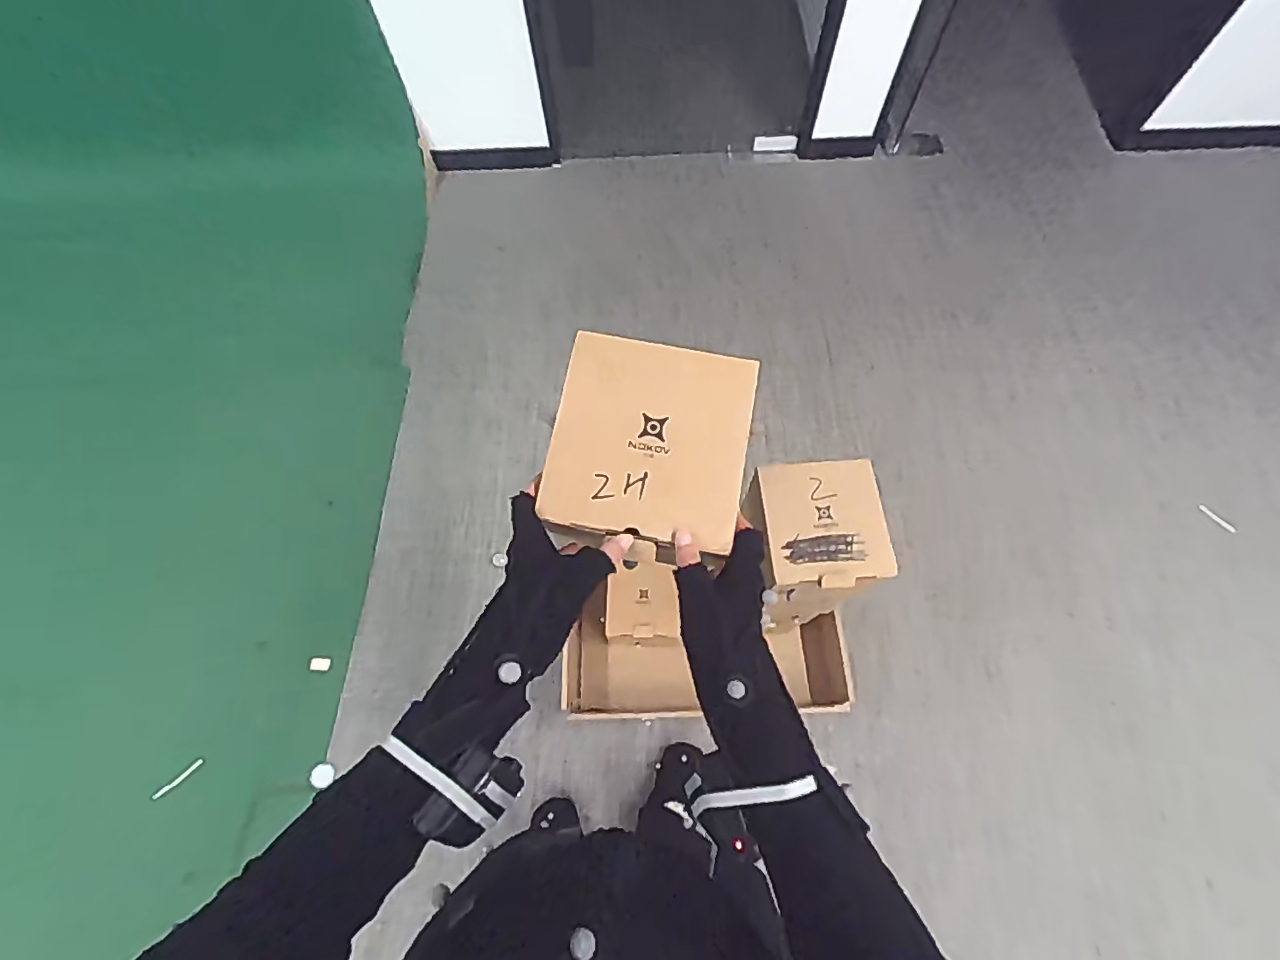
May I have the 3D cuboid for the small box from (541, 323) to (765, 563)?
[{"bbox_3d":[0.013,-0.024,0.533,0.168,0.176,0.179,10,77,3],"label":"small box"}]

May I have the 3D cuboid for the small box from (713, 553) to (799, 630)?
[{"bbox_3d":[0.267,0.256,1.281,0.168,0.176,0.179,-6,66,1],"label":"small box"}]

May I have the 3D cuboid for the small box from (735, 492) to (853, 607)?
[{"bbox_3d":[0.266,0.132,0.976,0.168,0.176,0.179,-1,67,1],"label":"small box"}]

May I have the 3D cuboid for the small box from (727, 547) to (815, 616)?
[{"bbox_3d":[0.274,0.183,1.114,0.168,0.176,0.179,-2,67,2],"label":"small box"}]
